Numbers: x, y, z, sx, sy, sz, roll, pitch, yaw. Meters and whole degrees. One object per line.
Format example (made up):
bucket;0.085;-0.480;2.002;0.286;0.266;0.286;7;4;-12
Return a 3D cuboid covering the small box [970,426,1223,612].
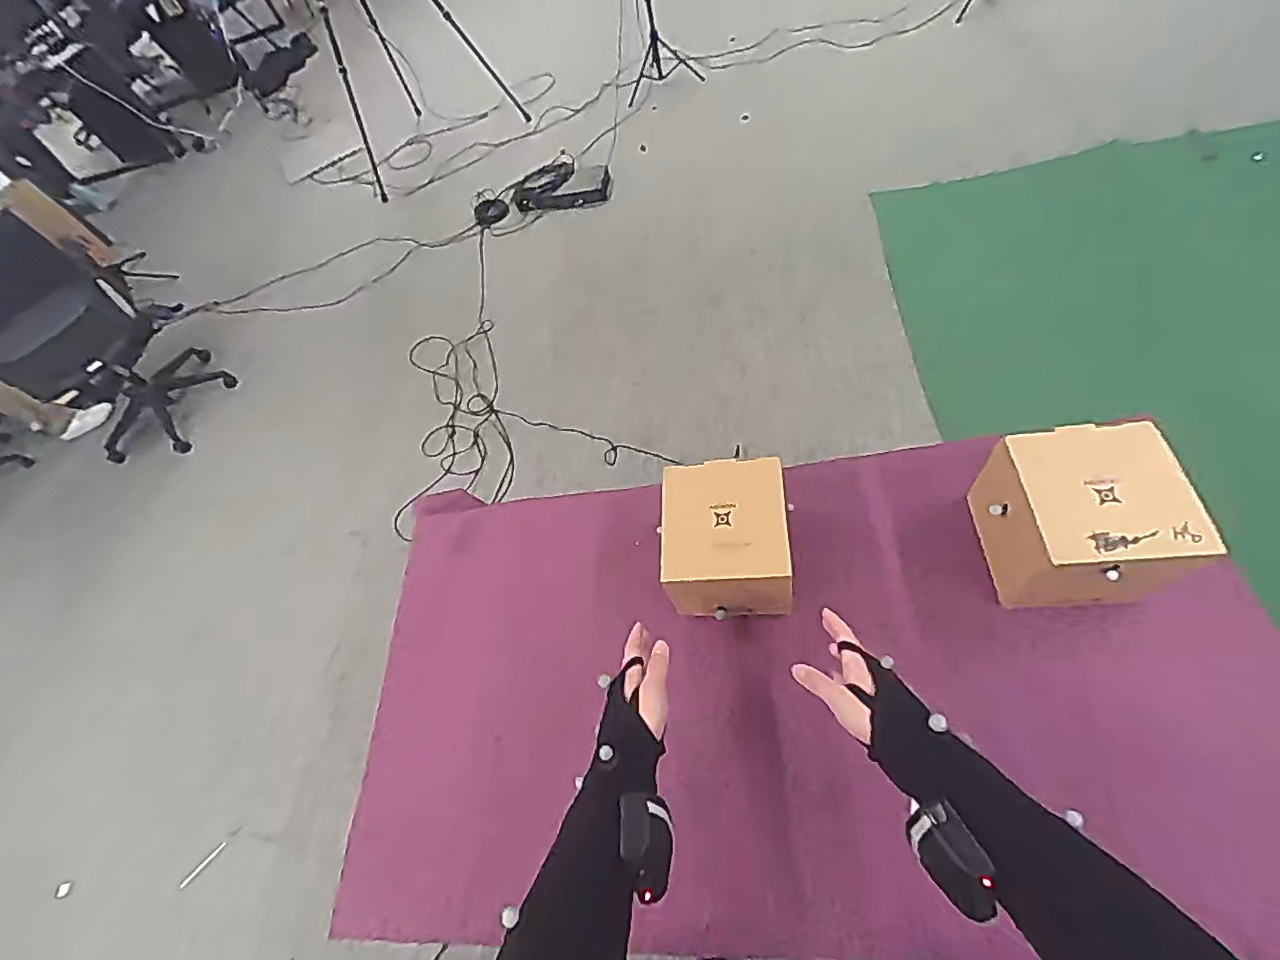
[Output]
small box;0.551;0.056;0.691;0.168;0.176;0.179;-6;58;12

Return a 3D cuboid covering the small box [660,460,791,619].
small box;0.126;0.092;0.783;0.168;0.176;0.179;-4;60;13
